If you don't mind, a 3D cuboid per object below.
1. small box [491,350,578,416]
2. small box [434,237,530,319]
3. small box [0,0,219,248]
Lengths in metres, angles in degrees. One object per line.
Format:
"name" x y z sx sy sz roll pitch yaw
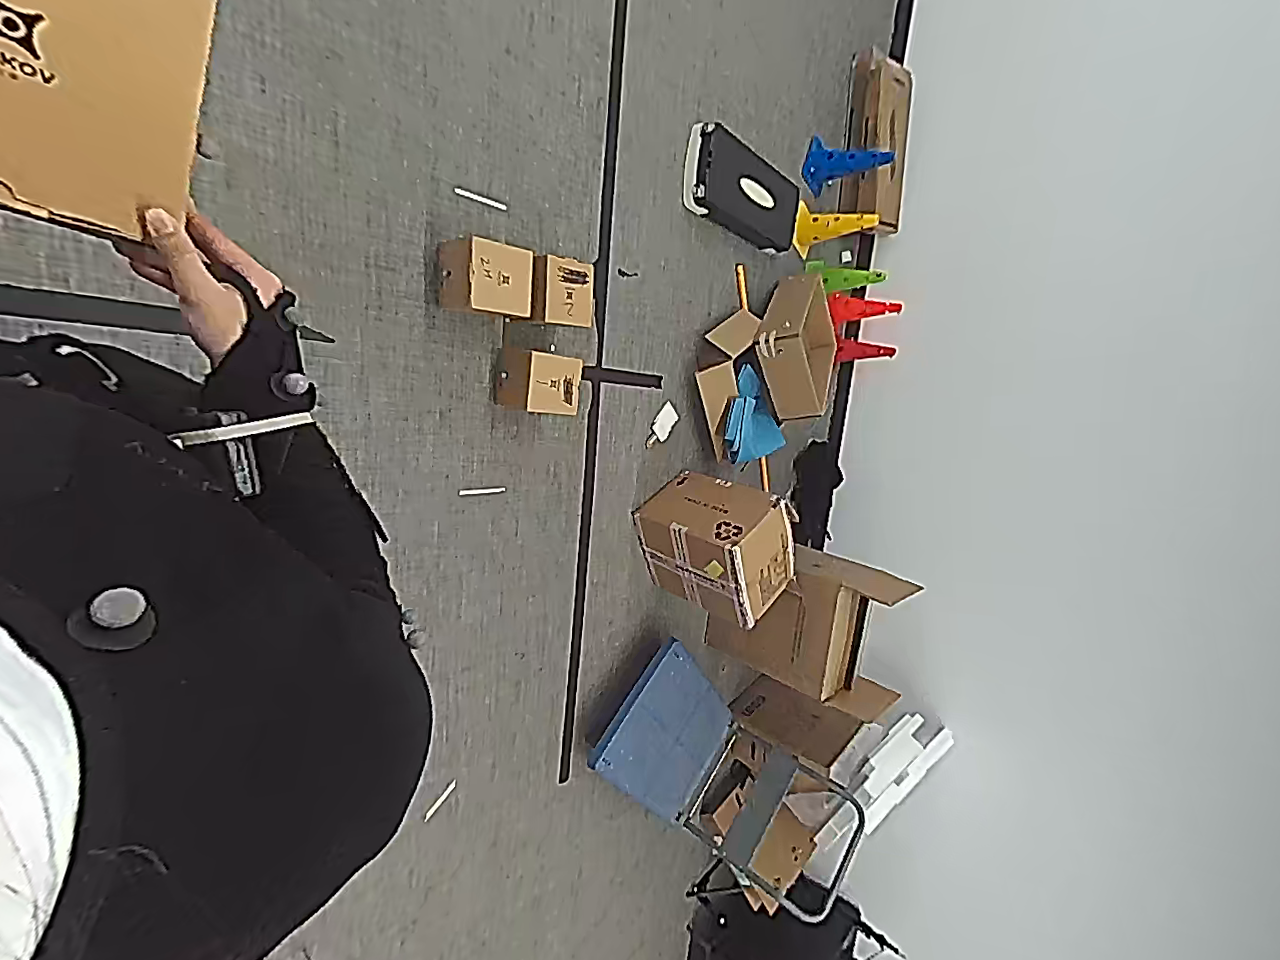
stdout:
"small box" -0.308 -0.283 1.572 0.179 0.176 0.168 -1 103 -47
"small box" -0.407 -0.513 1.391 0.179 0.176 0.168 -6 106 -46
"small box" -0.393 -0.265 0.338 0.168 0.176 0.179 6 103 -48
